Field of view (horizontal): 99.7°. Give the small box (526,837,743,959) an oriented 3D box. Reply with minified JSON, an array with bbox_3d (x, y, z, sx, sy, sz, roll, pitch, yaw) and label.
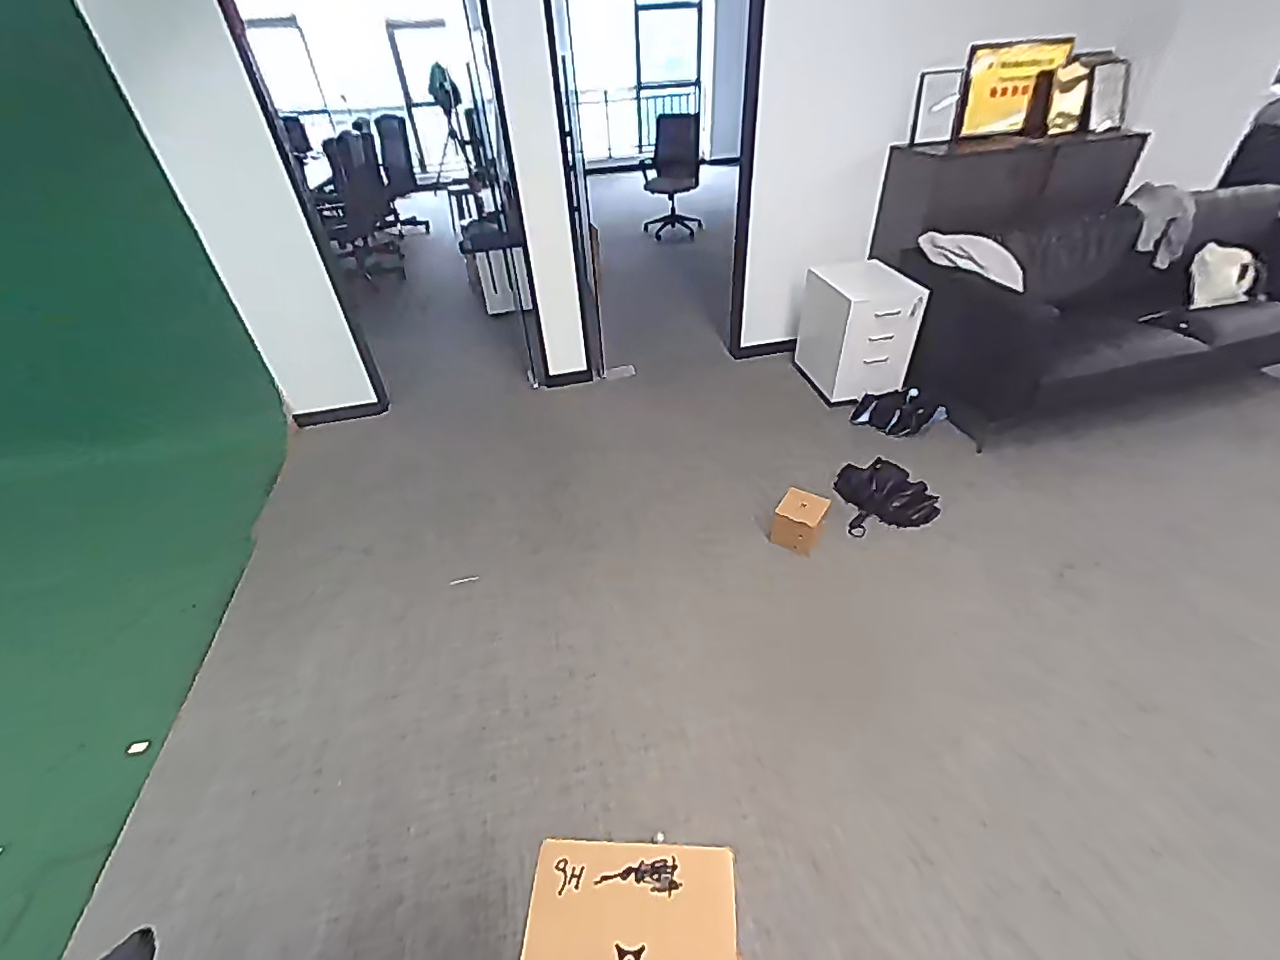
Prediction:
[{"bbox_3d":[0.001,0.423,0.446,0.168,0.176,0.179,-1,43,6],"label":"small box"}]
